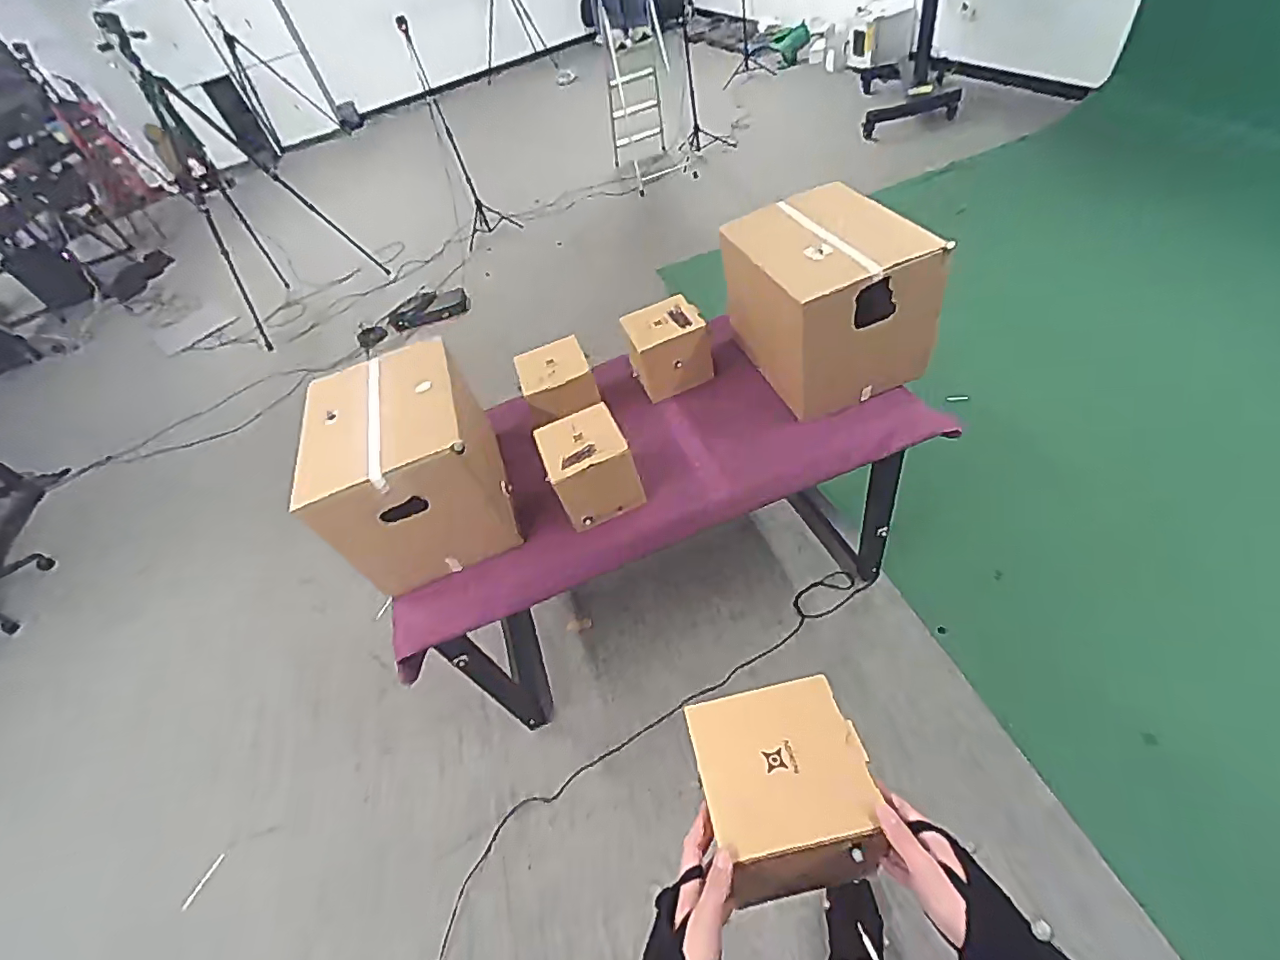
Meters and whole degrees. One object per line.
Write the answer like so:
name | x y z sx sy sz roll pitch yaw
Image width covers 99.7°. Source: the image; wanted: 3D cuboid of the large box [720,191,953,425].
large box | 0.415 -0.400 1.243 0.320 0.320 0.408 -22 48 -2

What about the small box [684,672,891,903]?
small box | 0.160 0.357 0.628 0.179 0.176 0.168 -12 39 -2
